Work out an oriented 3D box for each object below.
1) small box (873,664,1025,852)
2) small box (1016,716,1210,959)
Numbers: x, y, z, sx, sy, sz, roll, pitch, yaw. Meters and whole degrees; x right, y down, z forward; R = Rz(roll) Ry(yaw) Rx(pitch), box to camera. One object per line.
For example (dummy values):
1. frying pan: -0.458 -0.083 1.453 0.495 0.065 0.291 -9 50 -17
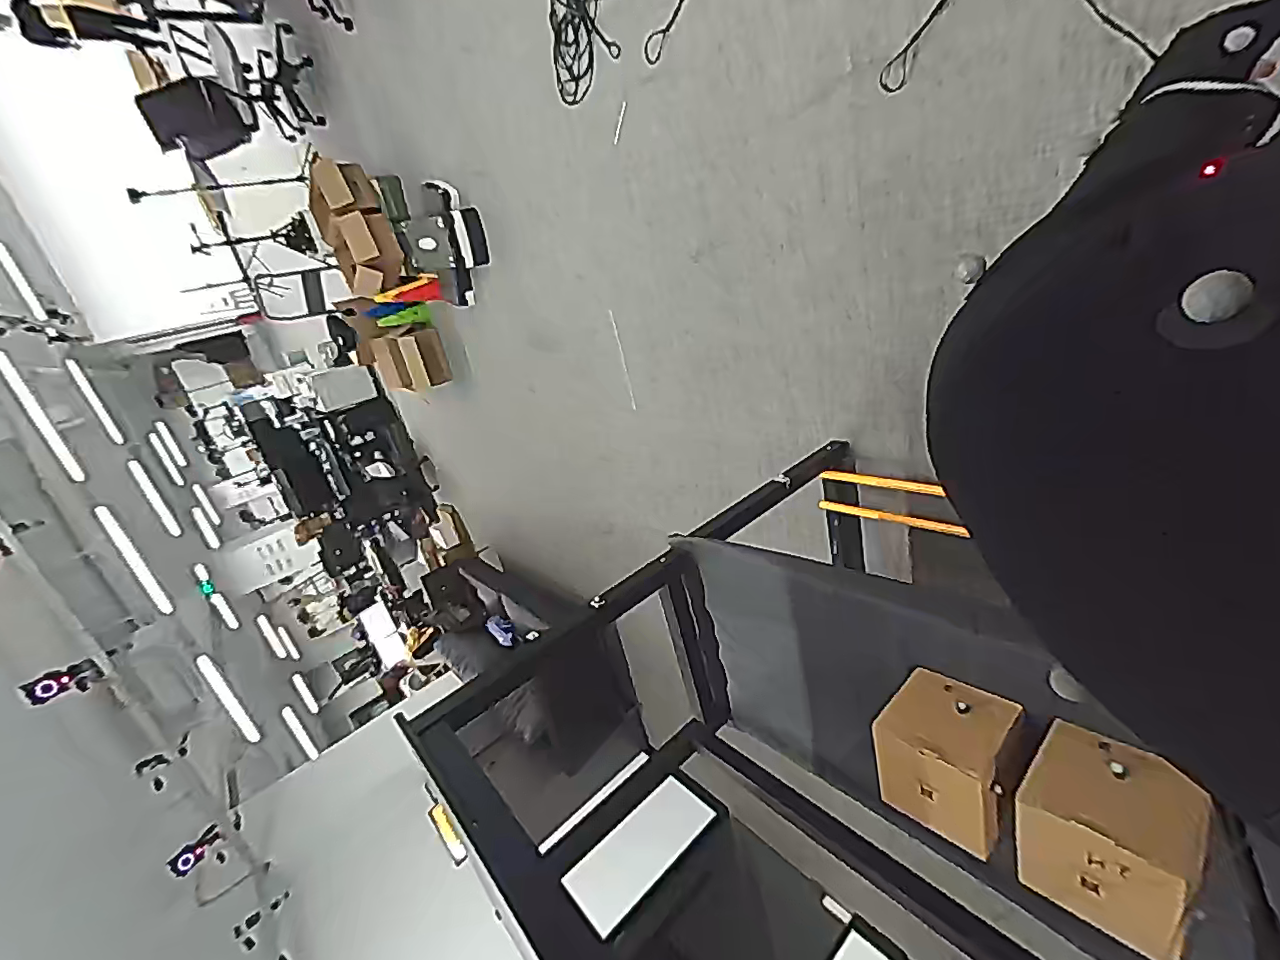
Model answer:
1. small box: 0.512 0.444 0.892 0.168 0.176 0.179 9 121 51
2. small box: 0.635 0.466 0.730 0.168 0.176 0.179 10 122 51
